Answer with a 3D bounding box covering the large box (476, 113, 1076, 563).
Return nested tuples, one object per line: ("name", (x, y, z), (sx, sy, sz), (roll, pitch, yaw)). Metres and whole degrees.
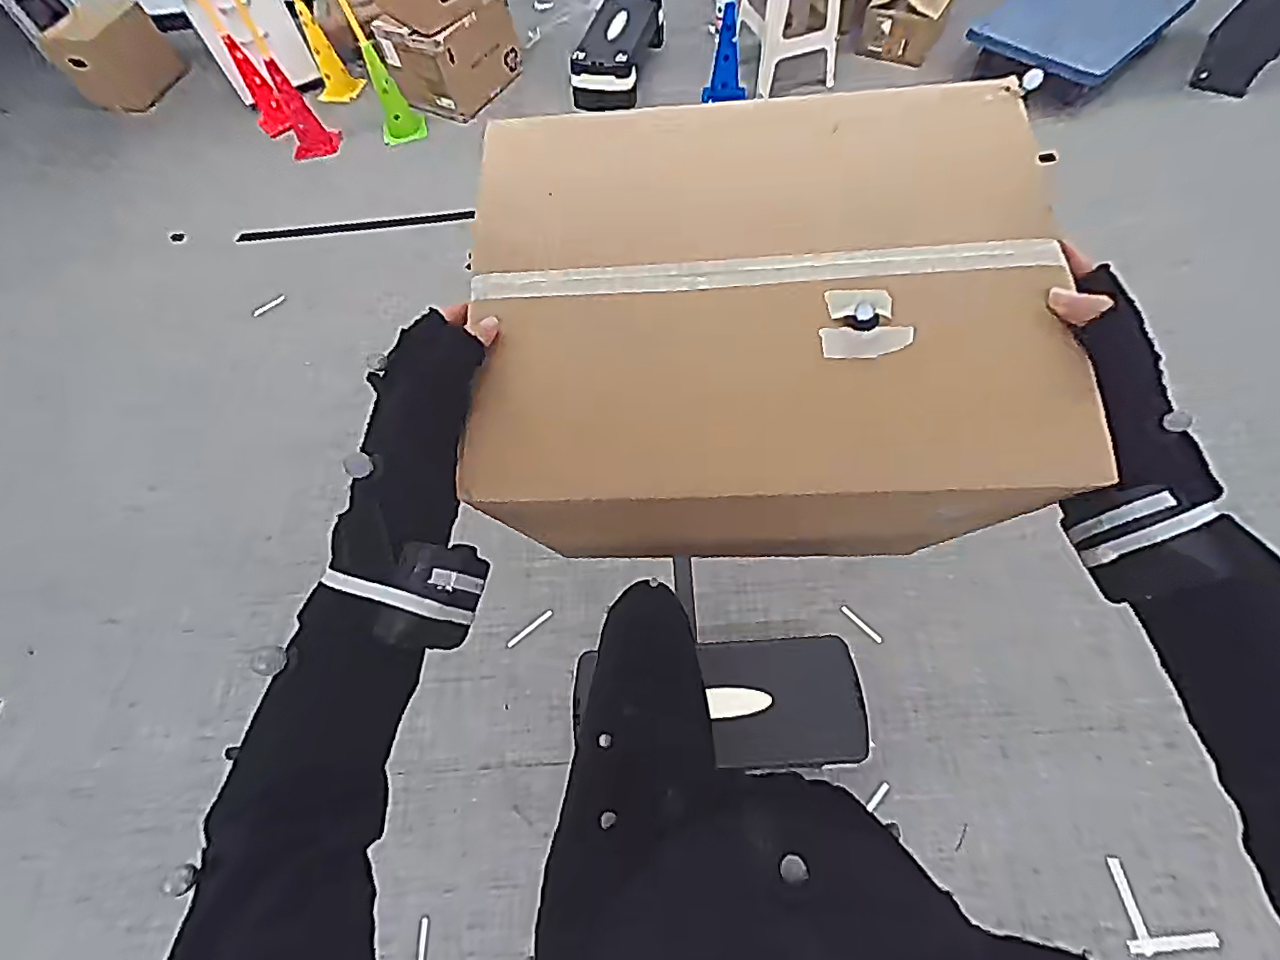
("large box", (0.090, -0.096, 0.542), (0.408, 0.320, 0.320), (-2, 74, 4))
